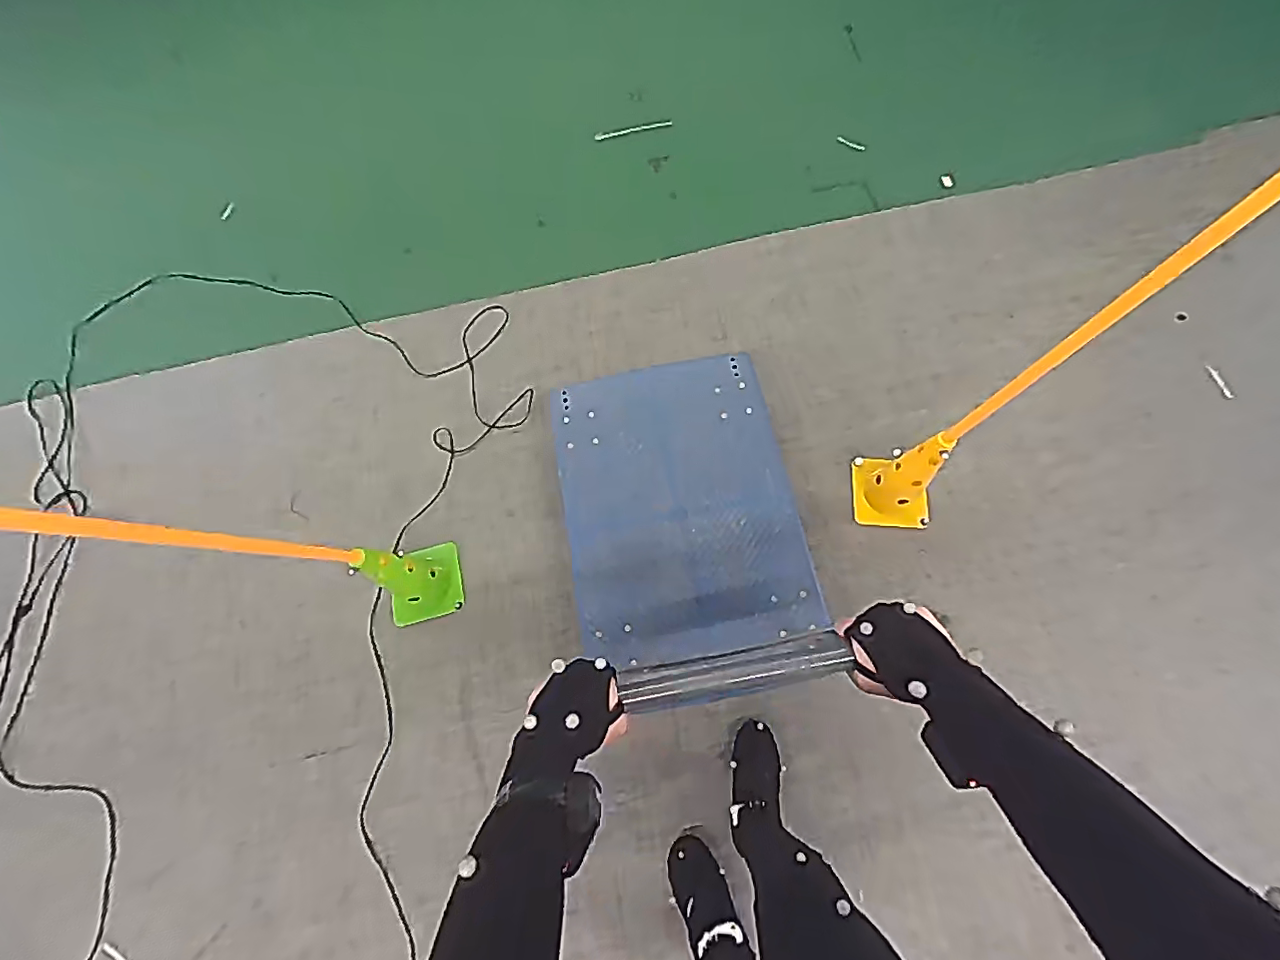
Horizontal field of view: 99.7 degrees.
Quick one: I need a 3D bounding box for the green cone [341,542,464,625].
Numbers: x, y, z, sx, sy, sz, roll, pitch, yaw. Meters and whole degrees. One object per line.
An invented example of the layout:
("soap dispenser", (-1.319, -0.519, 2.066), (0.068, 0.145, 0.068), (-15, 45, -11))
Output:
("green cone", (-0.621, 0.229, 1.363), (0.202, 0.368, 0.200), (-17, 69, 0))
